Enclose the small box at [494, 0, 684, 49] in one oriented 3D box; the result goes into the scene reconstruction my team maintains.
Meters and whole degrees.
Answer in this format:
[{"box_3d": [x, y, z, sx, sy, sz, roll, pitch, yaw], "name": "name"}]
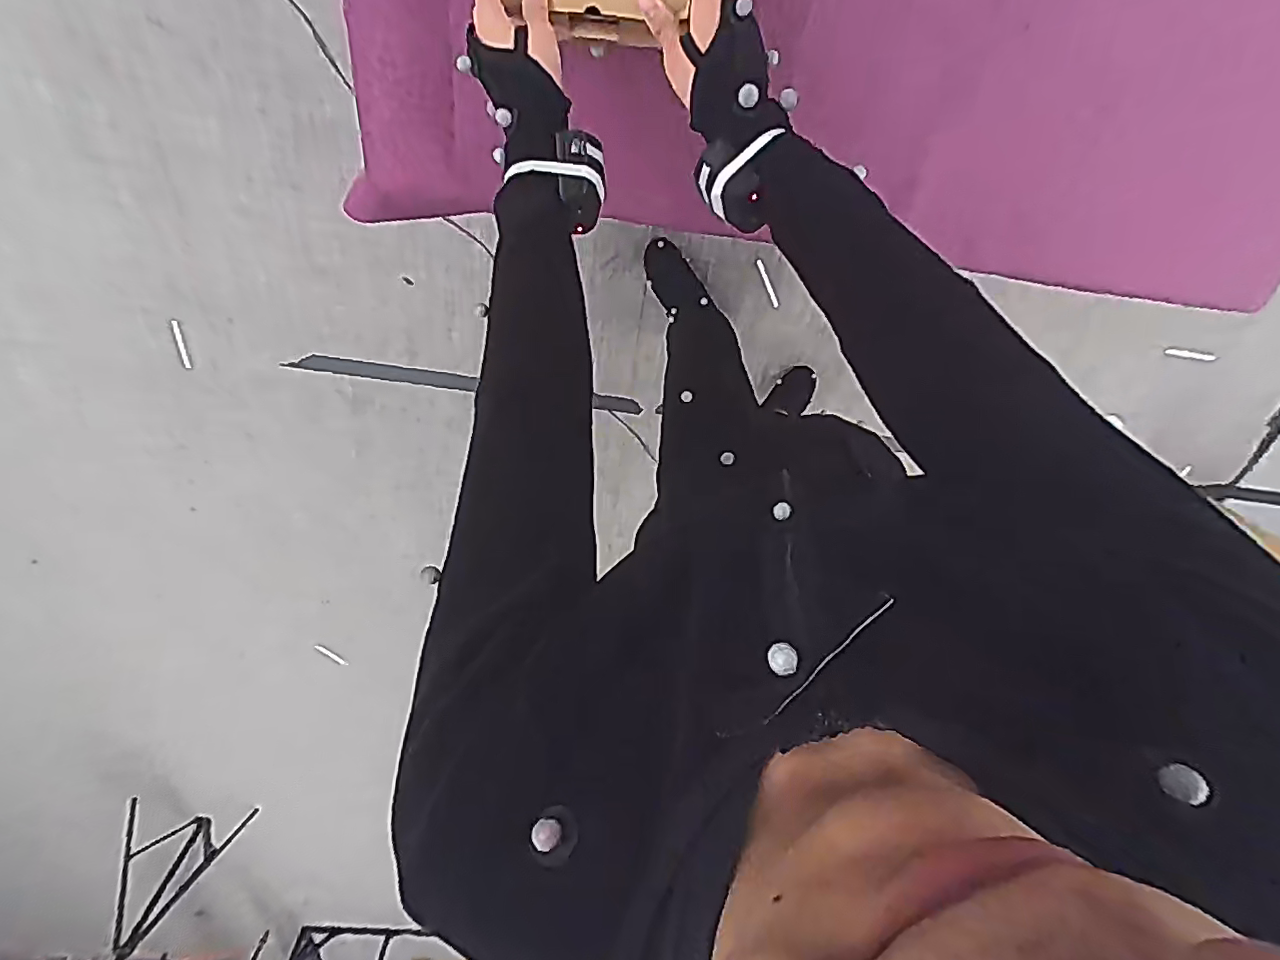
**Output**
[{"box_3d": [-0.040, -0.508, 0.476, 0.168, 0.176, 0.179, 3, 123, -3], "name": "small box"}]
